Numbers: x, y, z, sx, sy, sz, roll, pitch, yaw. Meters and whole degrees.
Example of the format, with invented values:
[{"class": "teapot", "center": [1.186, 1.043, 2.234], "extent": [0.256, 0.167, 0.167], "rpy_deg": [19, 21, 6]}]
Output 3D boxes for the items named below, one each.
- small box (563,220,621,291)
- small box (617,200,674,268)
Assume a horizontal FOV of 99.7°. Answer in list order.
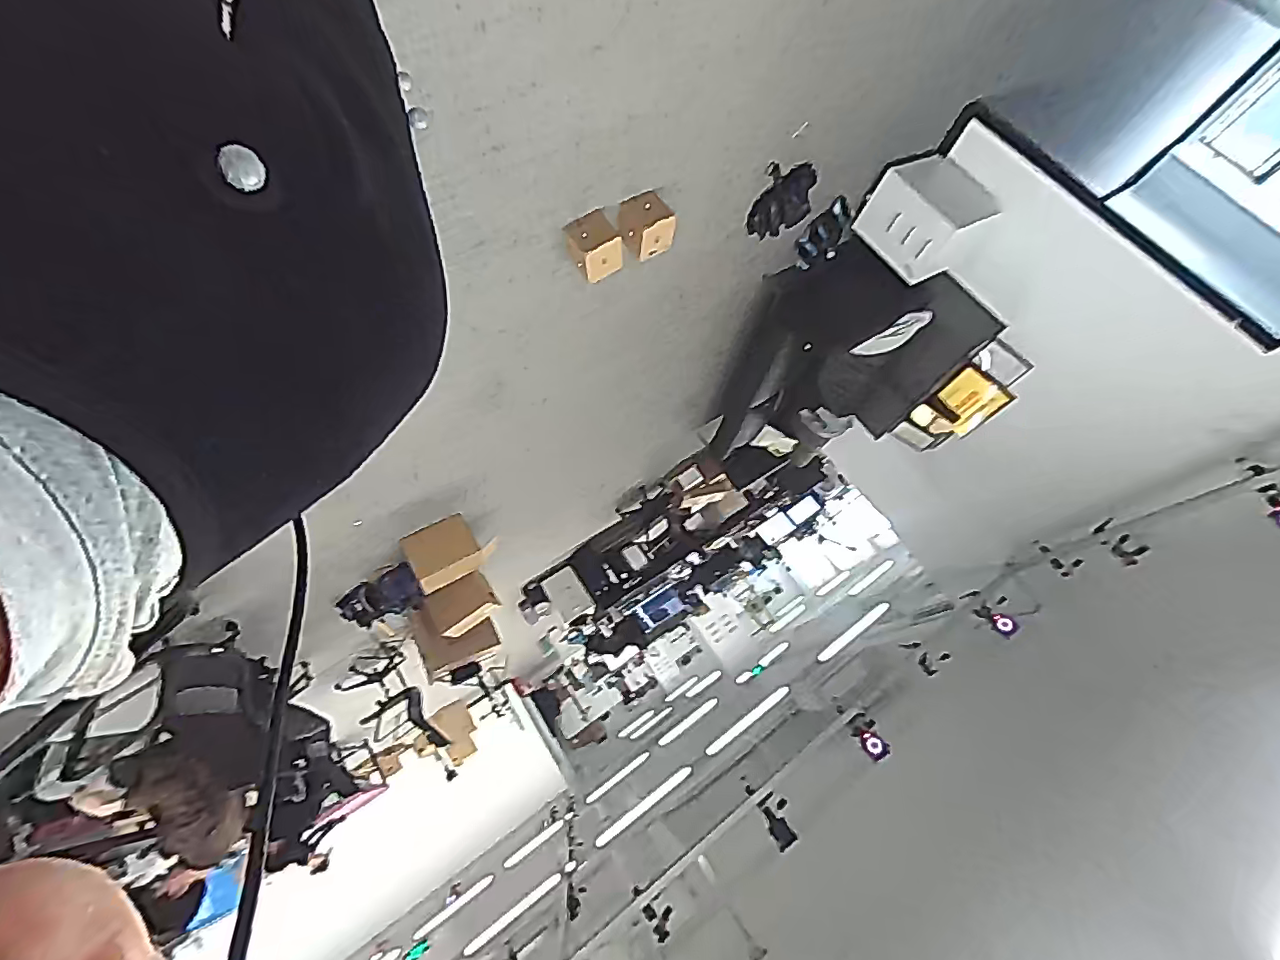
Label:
[{"class": "small box", "center": [-0.191, -0.906, 2.165], "extent": [0.168, 0.176, 0.179], "rpy_deg": [-33, 165, -9]}, {"class": "small box", "center": [0.017, -1.030, 2.249], "extent": [0.168, 0.176, 0.179], "rpy_deg": [-32, 162, -18]}]
